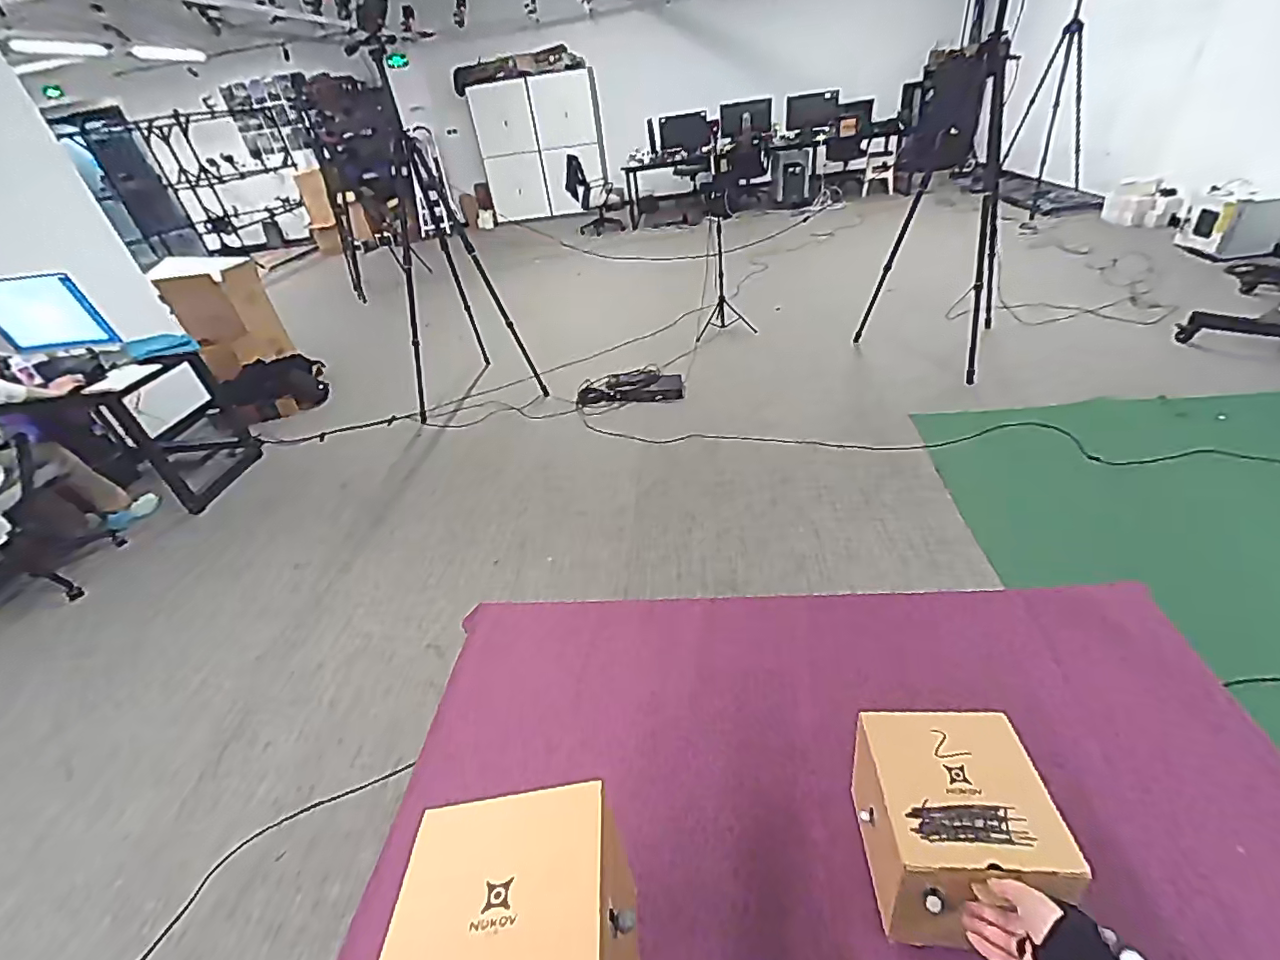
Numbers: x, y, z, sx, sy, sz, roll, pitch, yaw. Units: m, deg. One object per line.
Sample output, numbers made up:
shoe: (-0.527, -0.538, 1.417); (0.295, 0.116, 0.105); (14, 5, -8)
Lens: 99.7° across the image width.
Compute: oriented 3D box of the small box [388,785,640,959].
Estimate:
small box: (-0.095, 0.404, 0.458); (0.168, 0.176, 0.179); (-11, 26, 1)
